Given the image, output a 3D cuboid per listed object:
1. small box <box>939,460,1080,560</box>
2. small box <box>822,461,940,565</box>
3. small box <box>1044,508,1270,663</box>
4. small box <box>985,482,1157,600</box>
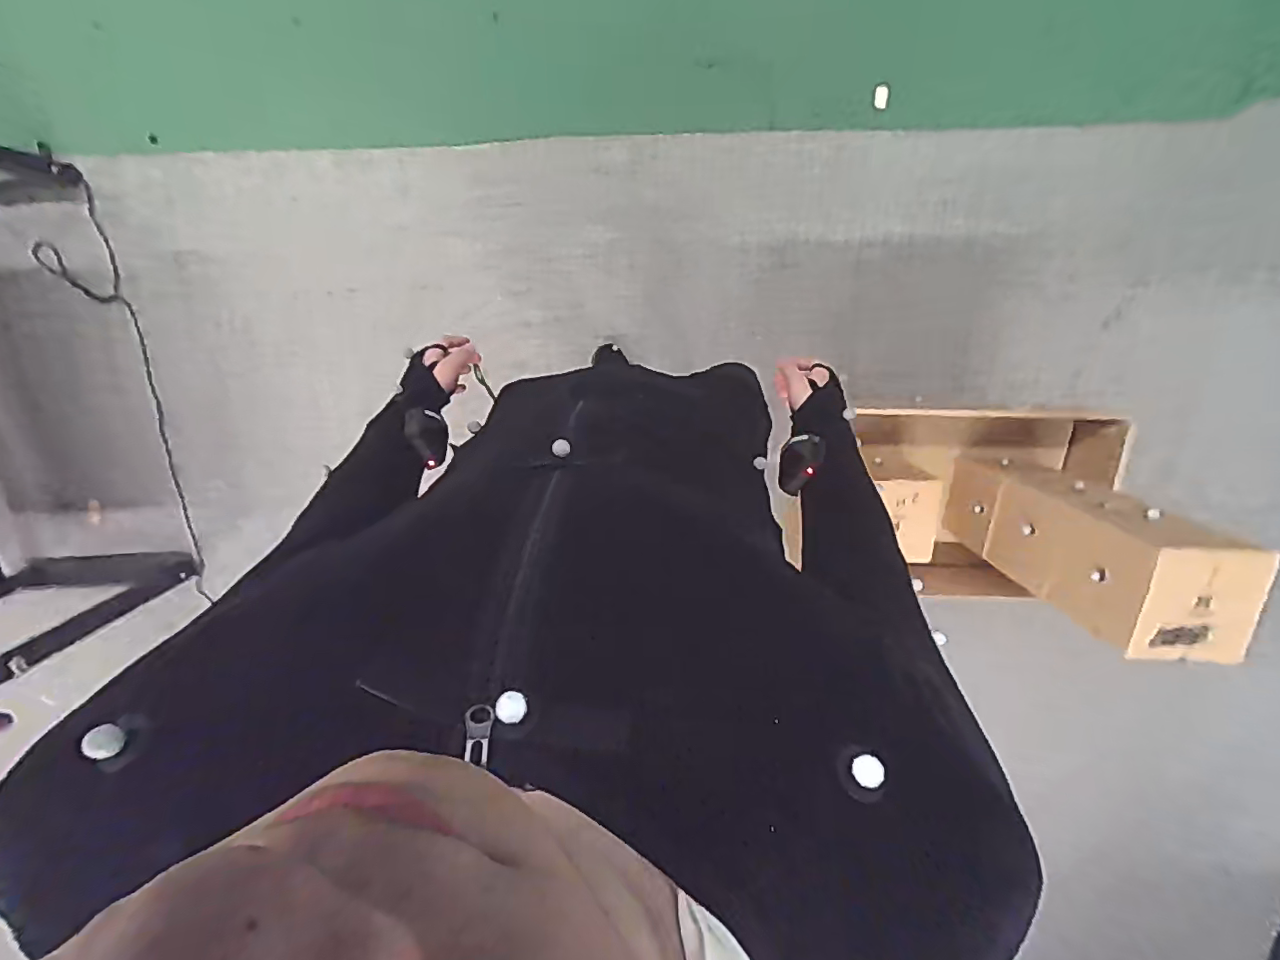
[{"bbox_3d":[0.771,0.061,1.151,0.168,0.176,0.179,4,107,-1],"label":"small box"},{"bbox_3d":[0.497,0.065,1.145,0.168,0.176,0.179,0,106,-2],"label":"small box"},{"bbox_3d":[0.775,0.156,0.836,0.168,0.176,0.179,2,106,0],"label":"small box"},{"bbox_3d":[0.775,0.108,0.995,0.168,0.176,0.179,3,105,0],"label":"small box"}]
